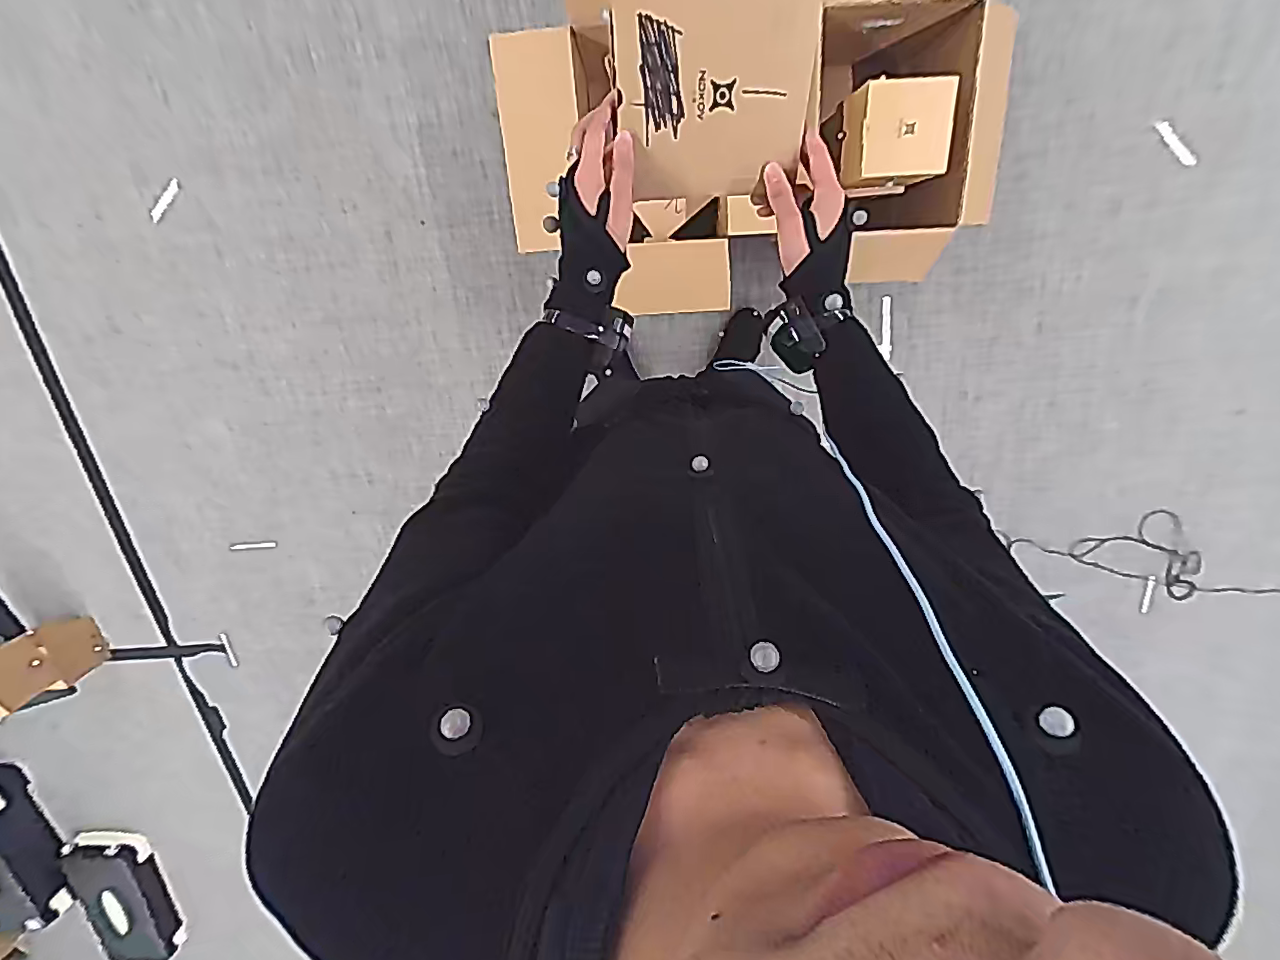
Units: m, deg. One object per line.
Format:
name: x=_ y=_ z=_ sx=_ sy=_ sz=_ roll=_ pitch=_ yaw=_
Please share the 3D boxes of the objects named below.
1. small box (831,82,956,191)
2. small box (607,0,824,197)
small box: x=0.521 y=-0.711 z=1.135 sx=0.179 sy=0.176 sz=0.168 roll=-3 pitch=111 yaw=1
small box: x=0.061 y=-0.390 z=0.535 sx=0.179 sy=0.176 sz=0.168 roll=-1 pitch=131 yaw=-1
